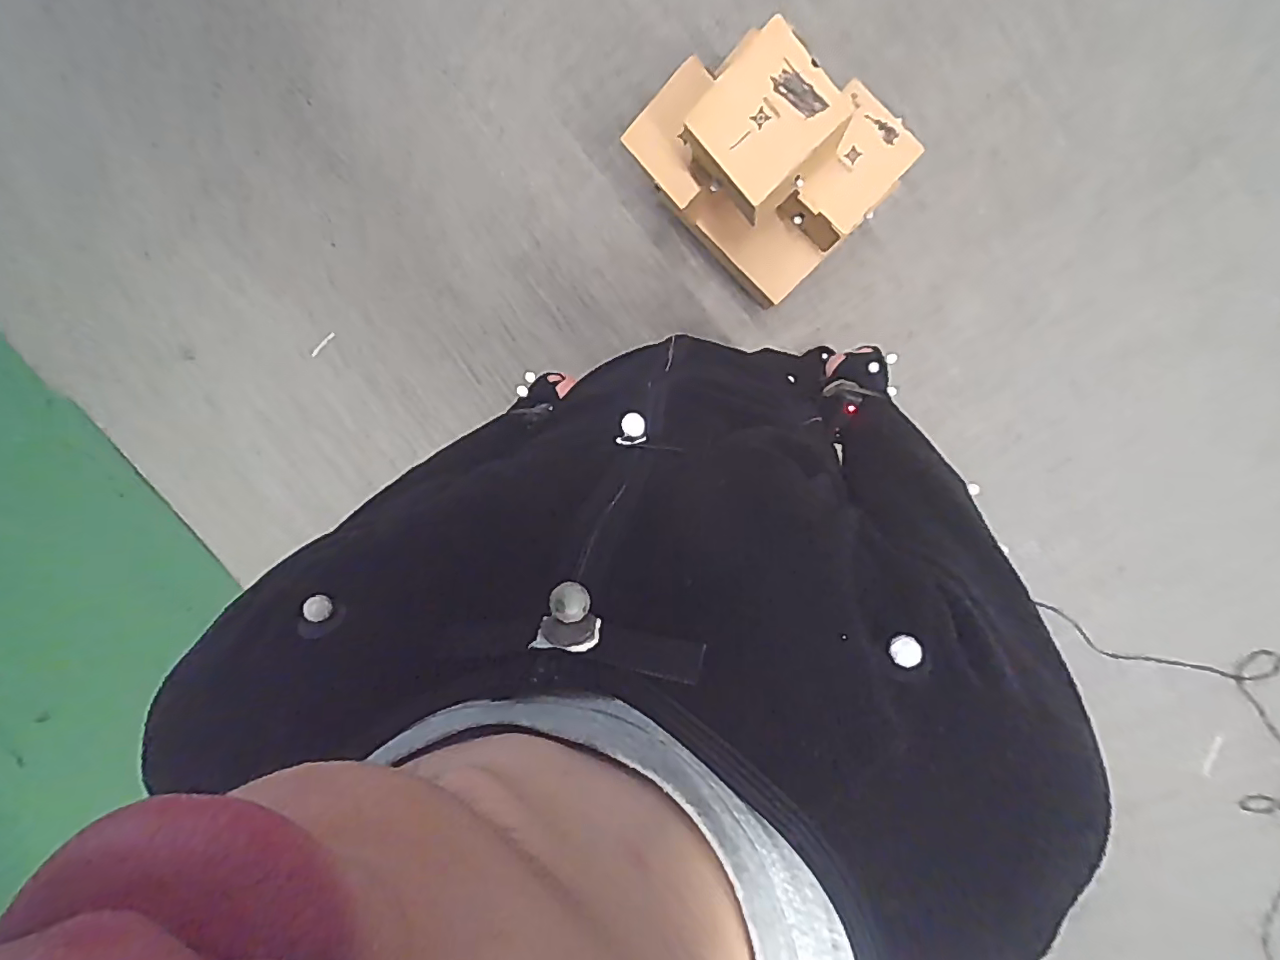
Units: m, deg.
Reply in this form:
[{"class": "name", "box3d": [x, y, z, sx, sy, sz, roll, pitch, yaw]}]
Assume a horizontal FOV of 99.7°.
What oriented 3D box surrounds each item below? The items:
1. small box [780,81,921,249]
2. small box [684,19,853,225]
[{"class": "small box", "box3d": [0.354, -0.543, 0.965, 0.168, 0.176, 0.179, 43, 107, -3]}, {"class": "small box", "box3d": [0.191, -0.526, 0.827, 0.179, 0.176, 0.168, -40, 94, 19]}]
